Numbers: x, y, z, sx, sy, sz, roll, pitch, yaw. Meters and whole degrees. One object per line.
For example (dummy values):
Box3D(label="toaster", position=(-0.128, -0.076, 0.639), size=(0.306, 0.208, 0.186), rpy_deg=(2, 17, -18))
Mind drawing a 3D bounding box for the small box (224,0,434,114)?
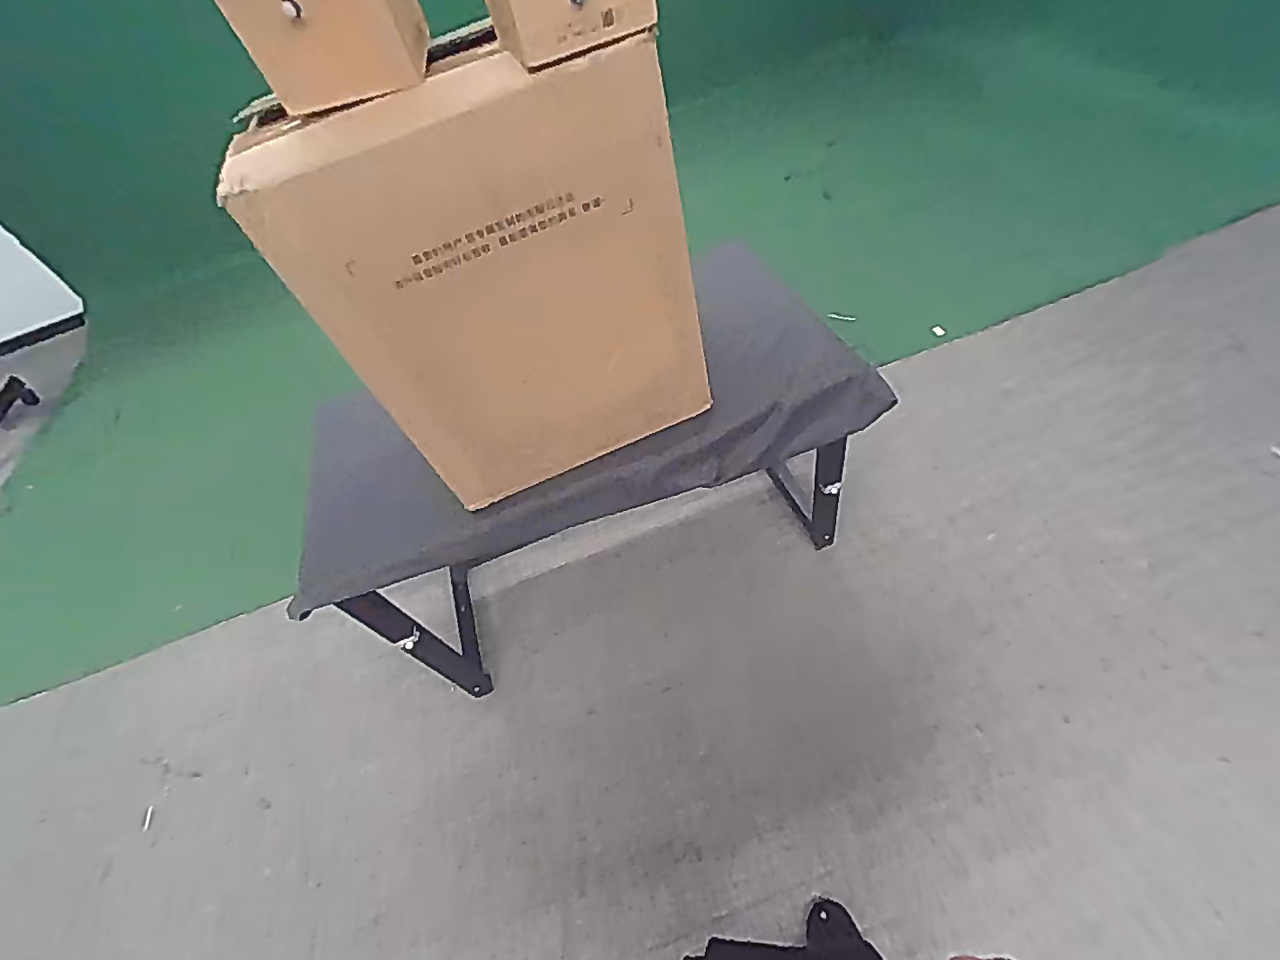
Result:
Box3D(label="small box", position=(-0.374, -0.576, 0.647), size=(0.179, 0.176, 0.168), rpy_deg=(-12, 59, 4))

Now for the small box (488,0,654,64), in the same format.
Box3D(label="small box", position=(-0.097, -0.605, 0.612), size=(0.168, 0.176, 0.179), rpy_deg=(-23, 52, -4))
